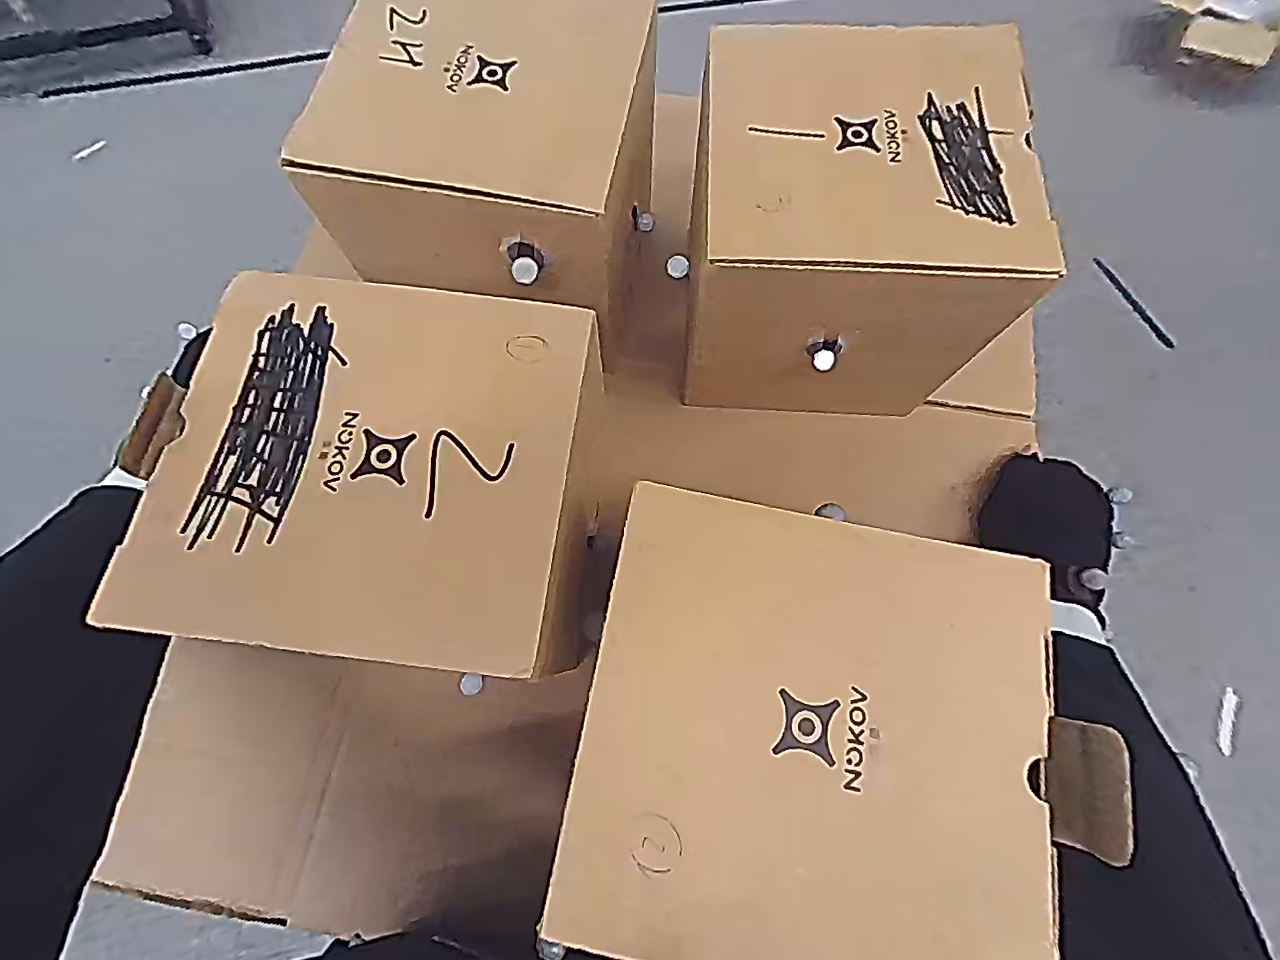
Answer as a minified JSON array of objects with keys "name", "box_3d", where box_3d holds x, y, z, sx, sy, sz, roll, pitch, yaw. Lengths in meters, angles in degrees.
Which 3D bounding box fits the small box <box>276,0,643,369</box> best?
[{"name":"small box","box_3d":[-0.098,-0.197,0.386,0.179,0.176,0.168,10,73,3]}]
